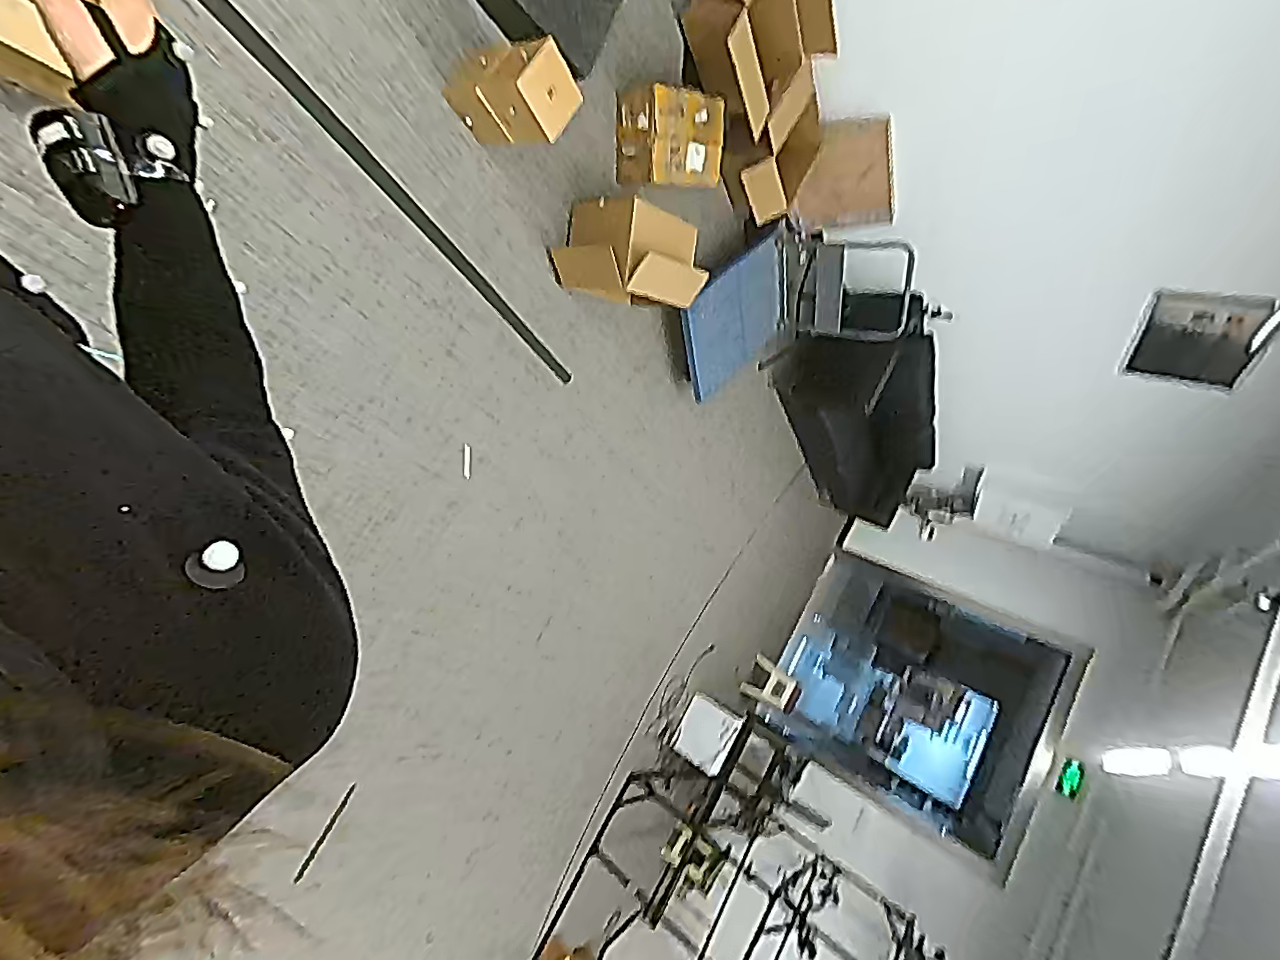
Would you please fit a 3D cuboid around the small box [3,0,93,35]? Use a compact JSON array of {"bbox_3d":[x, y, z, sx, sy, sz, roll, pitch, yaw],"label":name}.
[{"bbox_3d":[-0.488,-0.457,0.376,0.168,0.176,0.179,6,114,-51],"label":"small box"}]
